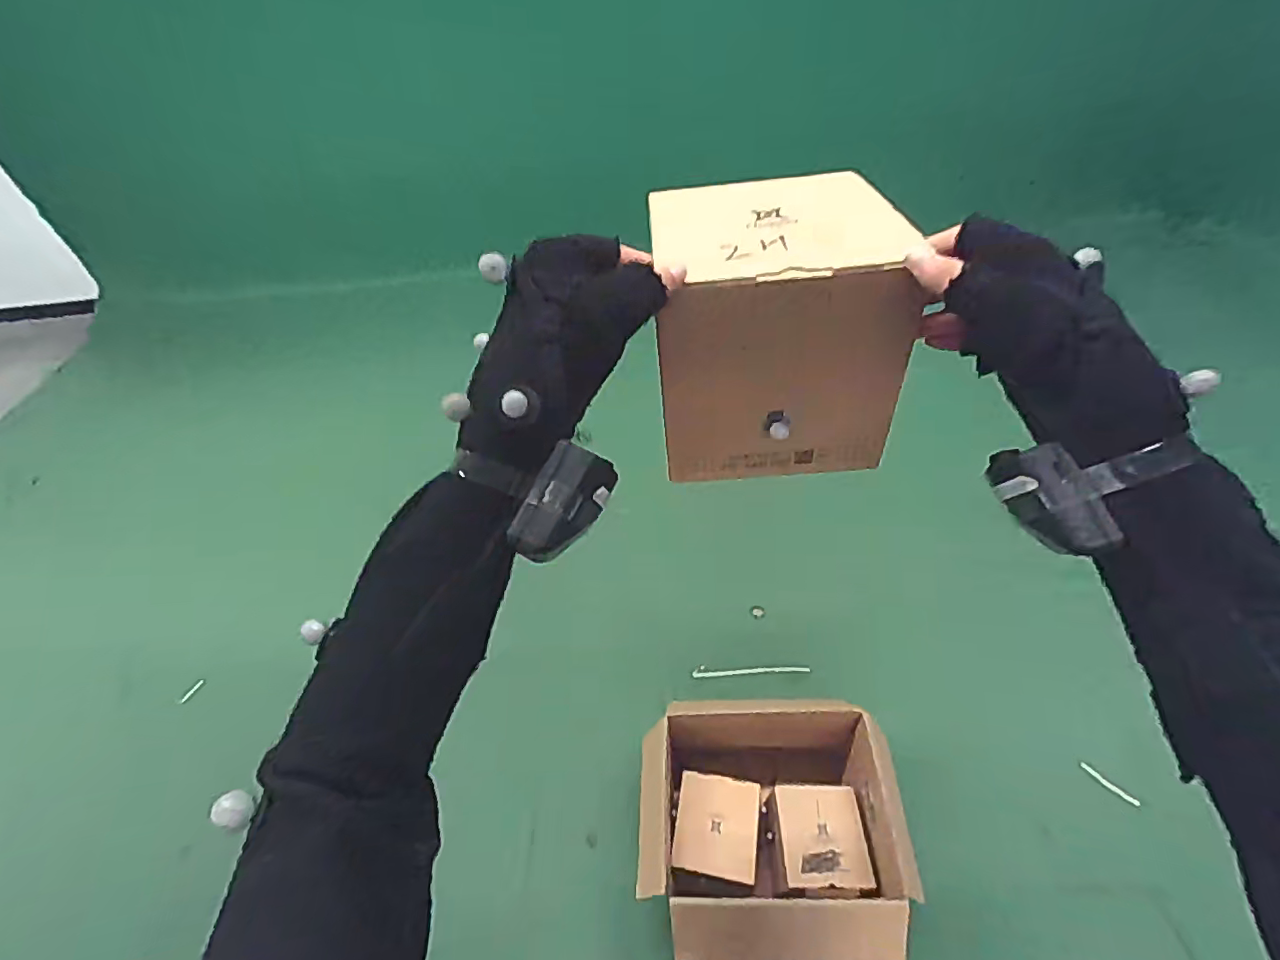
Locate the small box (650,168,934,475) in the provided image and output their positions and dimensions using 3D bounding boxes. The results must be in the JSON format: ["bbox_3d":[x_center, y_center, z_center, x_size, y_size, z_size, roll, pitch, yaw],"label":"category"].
[{"bbox_3d":[0.094,-0.124,0.427,0.168,0.176,0.179,-4,45,4],"label":"small box"}]
